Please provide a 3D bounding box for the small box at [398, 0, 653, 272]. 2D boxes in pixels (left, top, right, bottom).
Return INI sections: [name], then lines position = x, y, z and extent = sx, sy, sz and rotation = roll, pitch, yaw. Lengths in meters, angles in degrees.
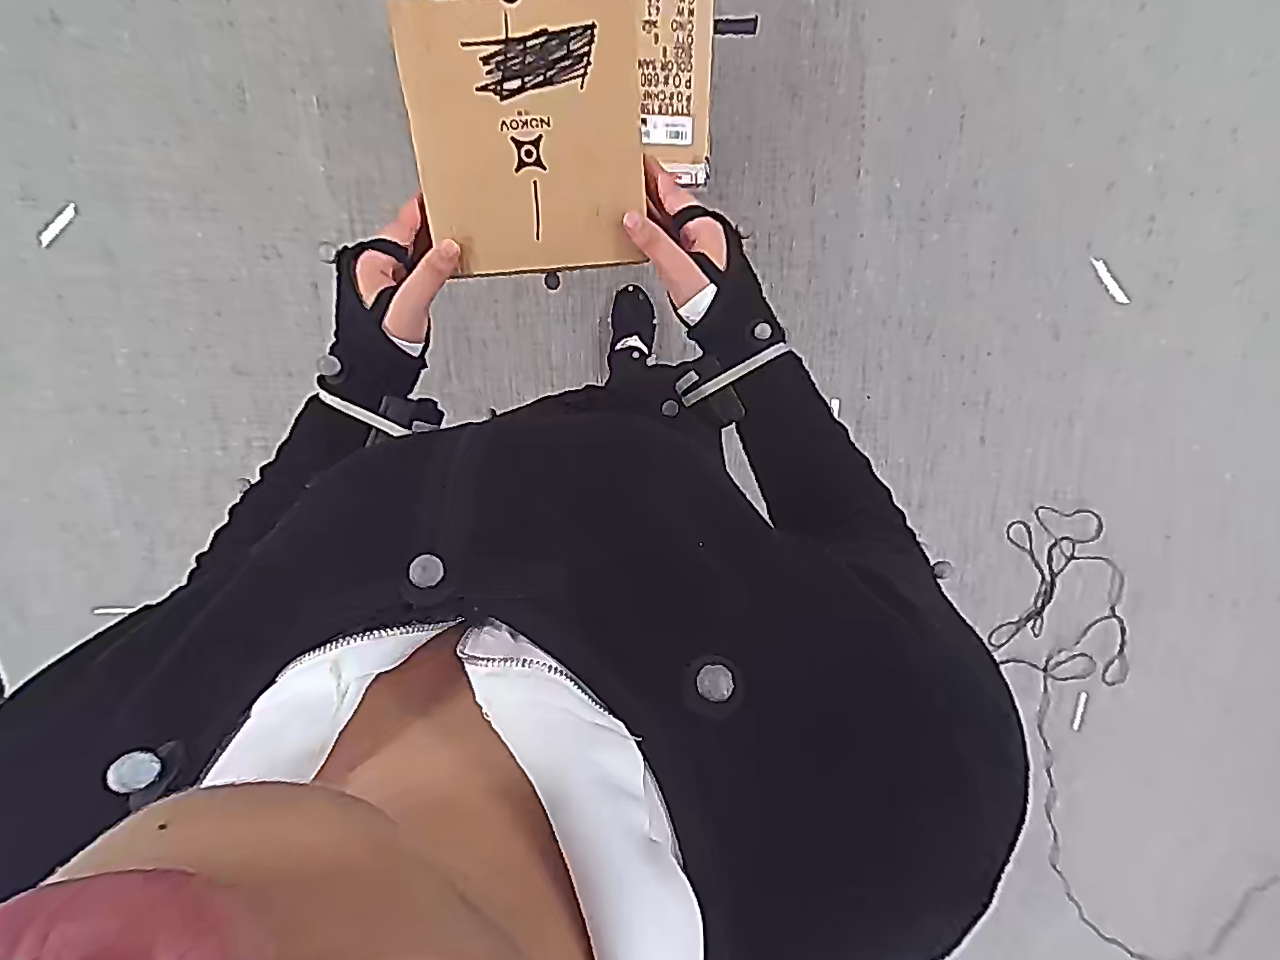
[small box]
position = -0.081, -0.278, 0.464
extent = 0.168, 0.176, 0.179
rotation = -5, 111, -2
